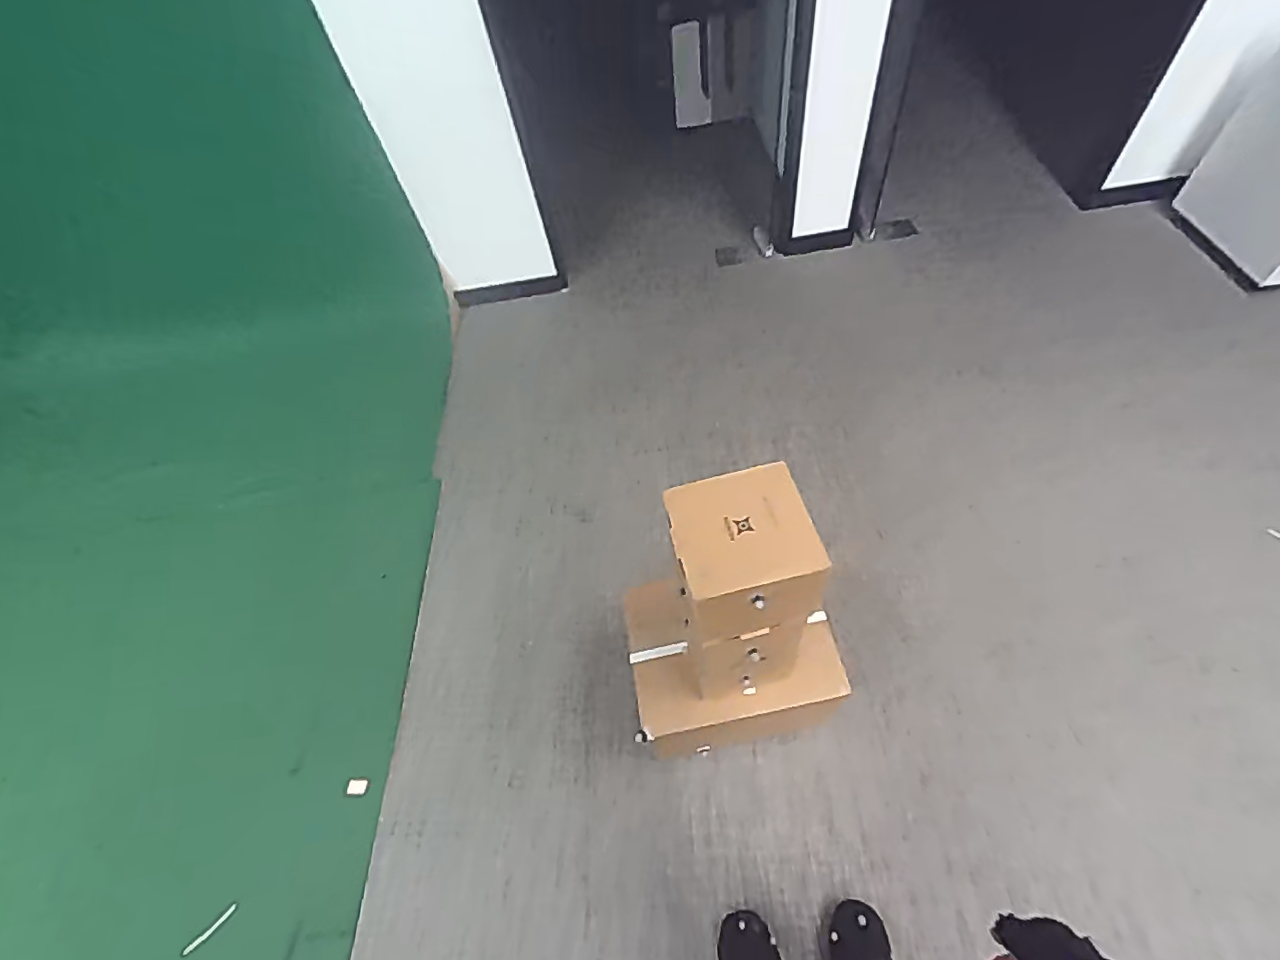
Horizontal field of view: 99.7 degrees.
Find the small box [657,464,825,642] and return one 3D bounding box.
[{"bbox_3d":[0.132,0.108,0.749,0.179,0.176,0.168,-14,56,-2],"label":"small box"}]

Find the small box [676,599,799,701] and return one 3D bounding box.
[{"bbox_3d":[0.174,0.294,1.012,0.179,0.176,0.168,-16,55,-4],"label":"small box"}]

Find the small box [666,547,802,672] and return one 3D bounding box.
[{"bbox_3d":[0.148,0.199,0.882,0.168,0.176,0.179,-15,55,-2],"label":"small box"}]
